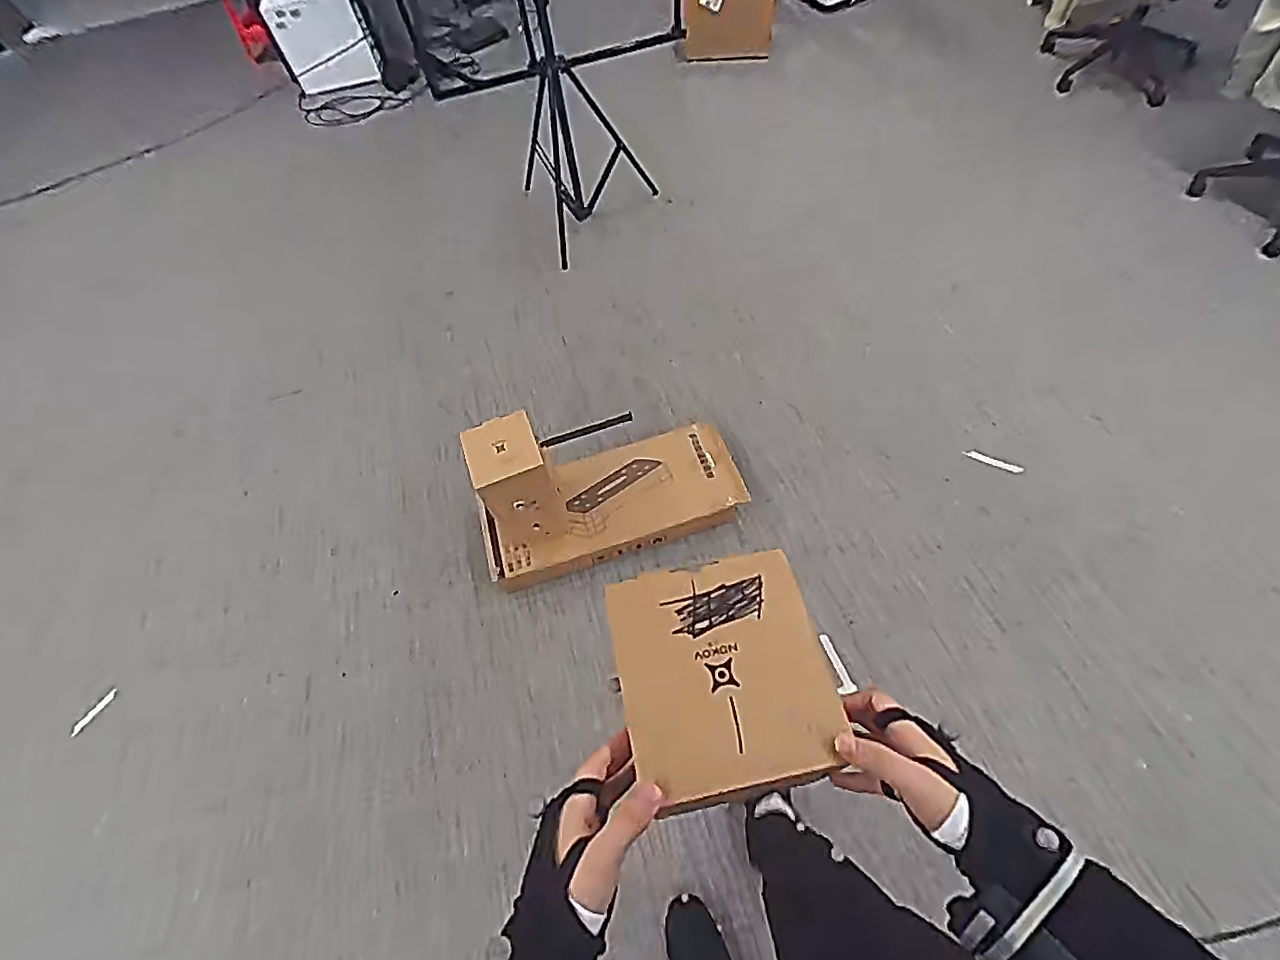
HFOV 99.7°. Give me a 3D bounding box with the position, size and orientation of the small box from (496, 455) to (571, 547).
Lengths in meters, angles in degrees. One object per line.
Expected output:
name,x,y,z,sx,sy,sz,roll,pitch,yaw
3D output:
small box,-0.292,0.064,1.453,0.168,0.176,0.179,-16,60,-4

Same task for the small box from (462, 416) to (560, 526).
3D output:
small box,-0.310,-0.018,1.313,0.168,0.176,0.179,-22,60,-7

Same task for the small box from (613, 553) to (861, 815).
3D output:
small box,0.073,0.194,0.506,0.168,0.176,0.179,-11,56,-3
